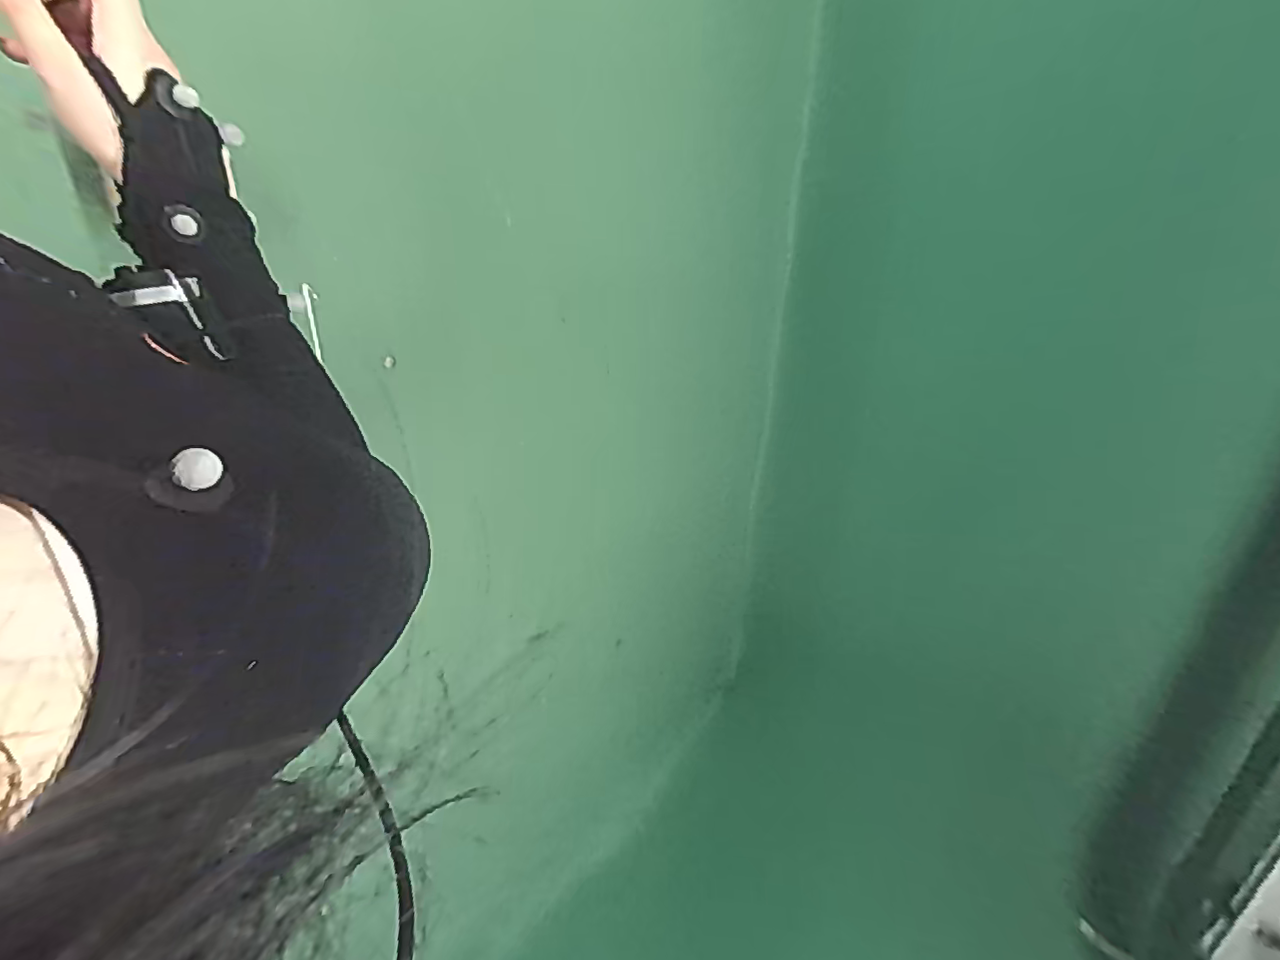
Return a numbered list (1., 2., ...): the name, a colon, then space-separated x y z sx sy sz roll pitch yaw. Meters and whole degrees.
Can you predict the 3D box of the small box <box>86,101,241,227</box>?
1. small box: -0.886 -0.574 1.008 0.168 0.176 0.179 -22 123 -44
